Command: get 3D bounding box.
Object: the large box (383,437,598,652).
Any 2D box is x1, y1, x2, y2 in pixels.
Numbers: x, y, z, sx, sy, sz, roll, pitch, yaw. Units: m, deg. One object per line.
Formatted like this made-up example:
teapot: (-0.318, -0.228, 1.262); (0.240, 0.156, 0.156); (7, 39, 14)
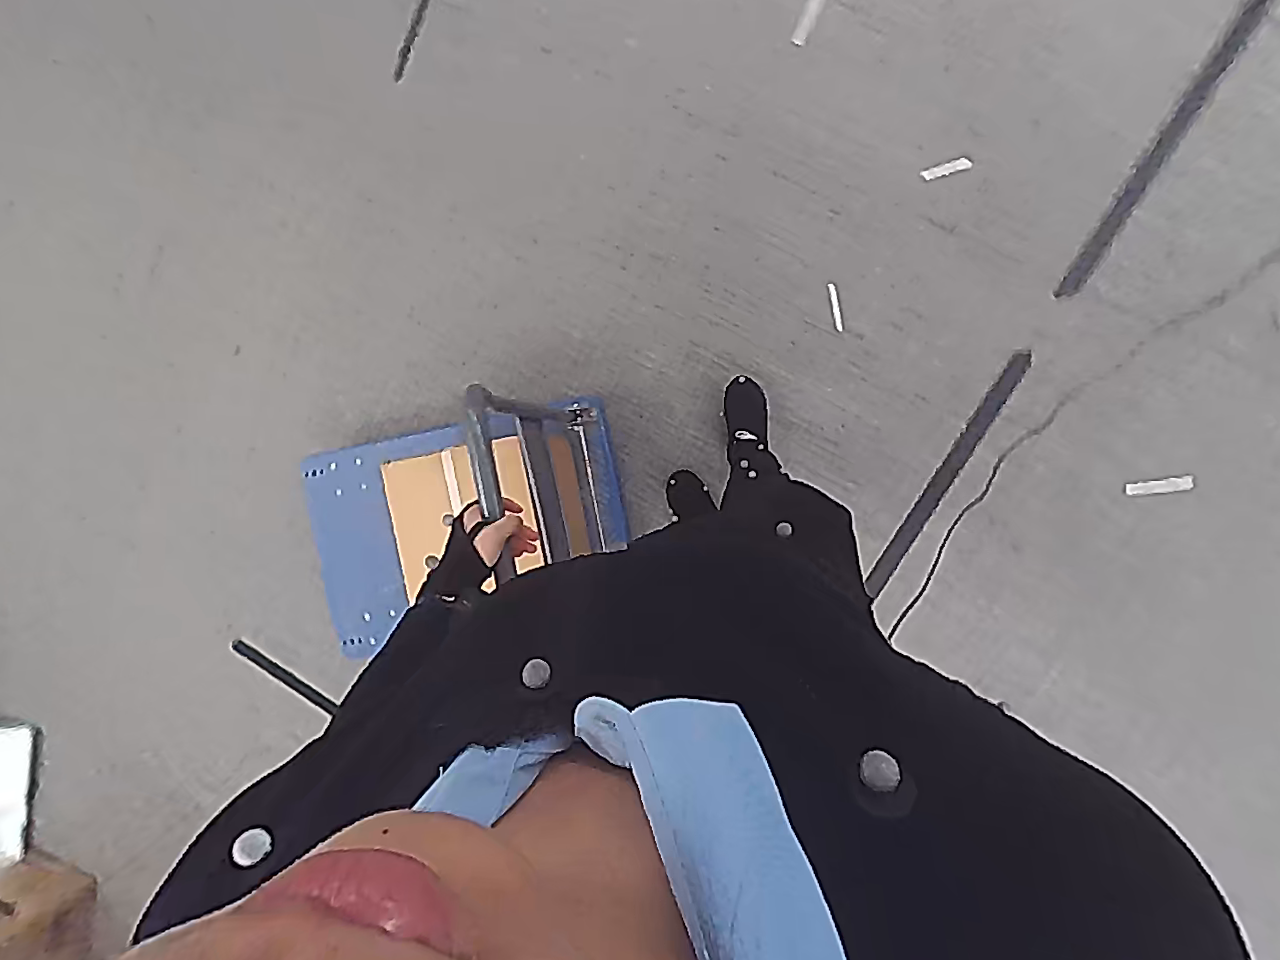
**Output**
large box: (-0.317, 0.128, 1.235); (0.320, 0.320, 0.408); (-11, 92, 11)
